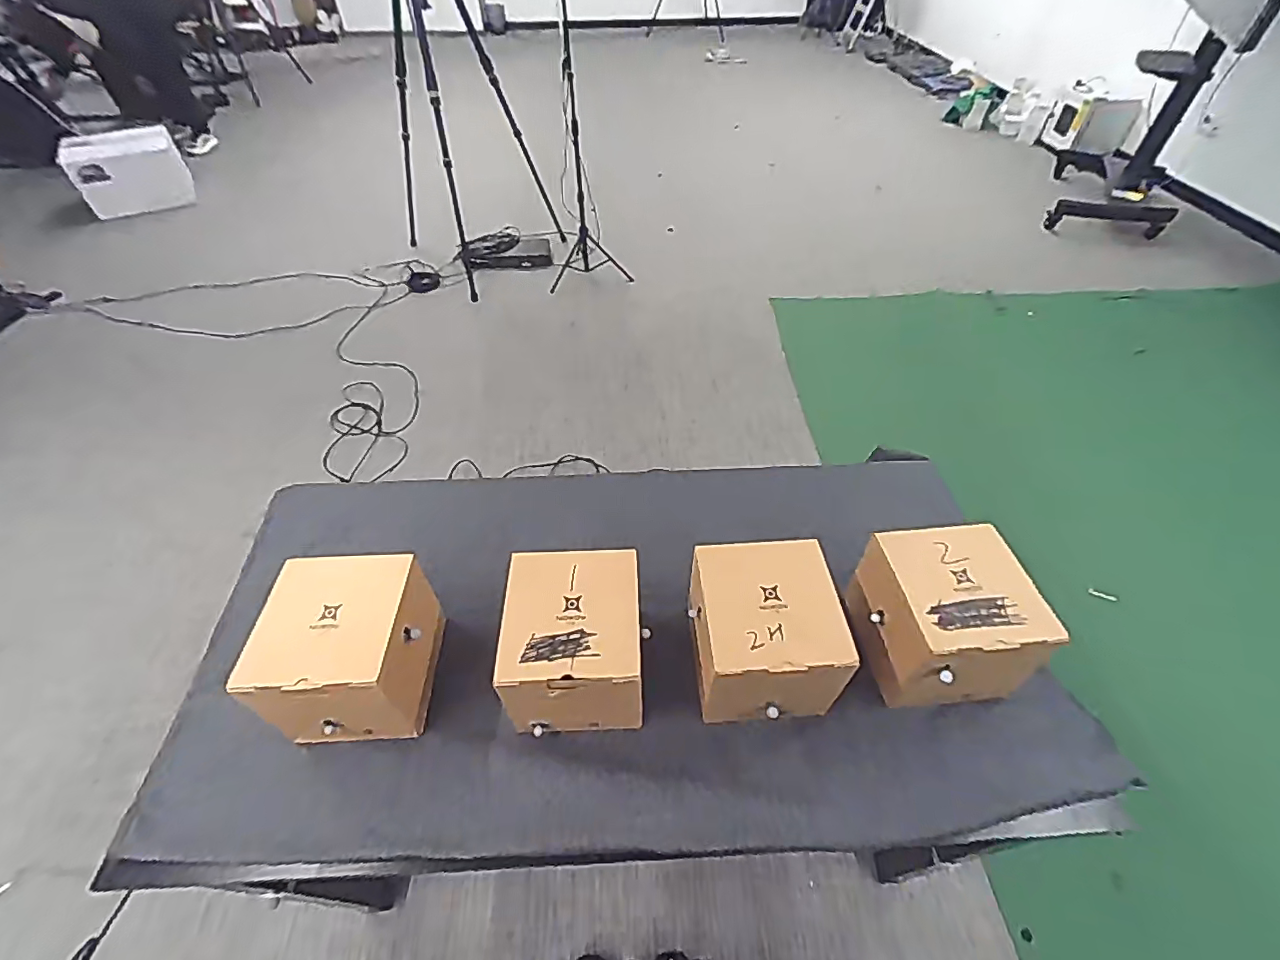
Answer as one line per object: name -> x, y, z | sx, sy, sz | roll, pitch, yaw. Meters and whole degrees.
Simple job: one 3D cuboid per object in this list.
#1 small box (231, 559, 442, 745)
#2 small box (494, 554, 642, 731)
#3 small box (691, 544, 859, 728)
small box -> -0.369, 0.223, 0.703 | 0.168, 0.176, 0.179 | -2, 47, -3
small box -> -0.081, 0.217, 0.708 | 0.168, 0.176, 0.179 | -1, 47, -1
small box -> 0.161, 0.207, 0.717 | 0.168, 0.176, 0.179 | -4, 48, -1
